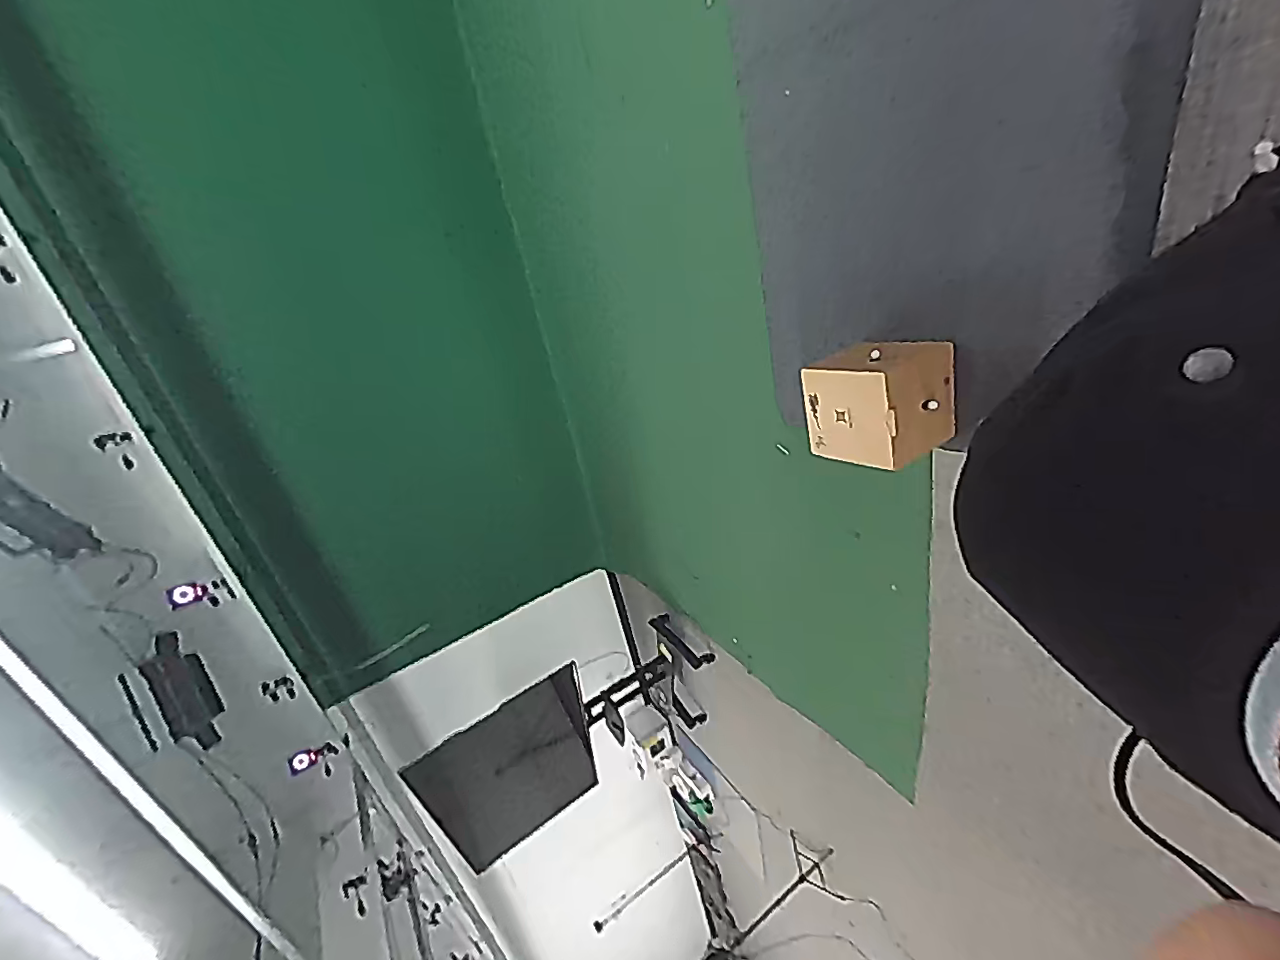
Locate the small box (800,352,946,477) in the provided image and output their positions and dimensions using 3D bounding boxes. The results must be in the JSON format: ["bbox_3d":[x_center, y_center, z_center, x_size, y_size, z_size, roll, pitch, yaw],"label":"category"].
[{"bbox_3d":[0.412,-0.123,0.948,0.179,0.176,0.168,19,129,56],"label":"small box"}]
